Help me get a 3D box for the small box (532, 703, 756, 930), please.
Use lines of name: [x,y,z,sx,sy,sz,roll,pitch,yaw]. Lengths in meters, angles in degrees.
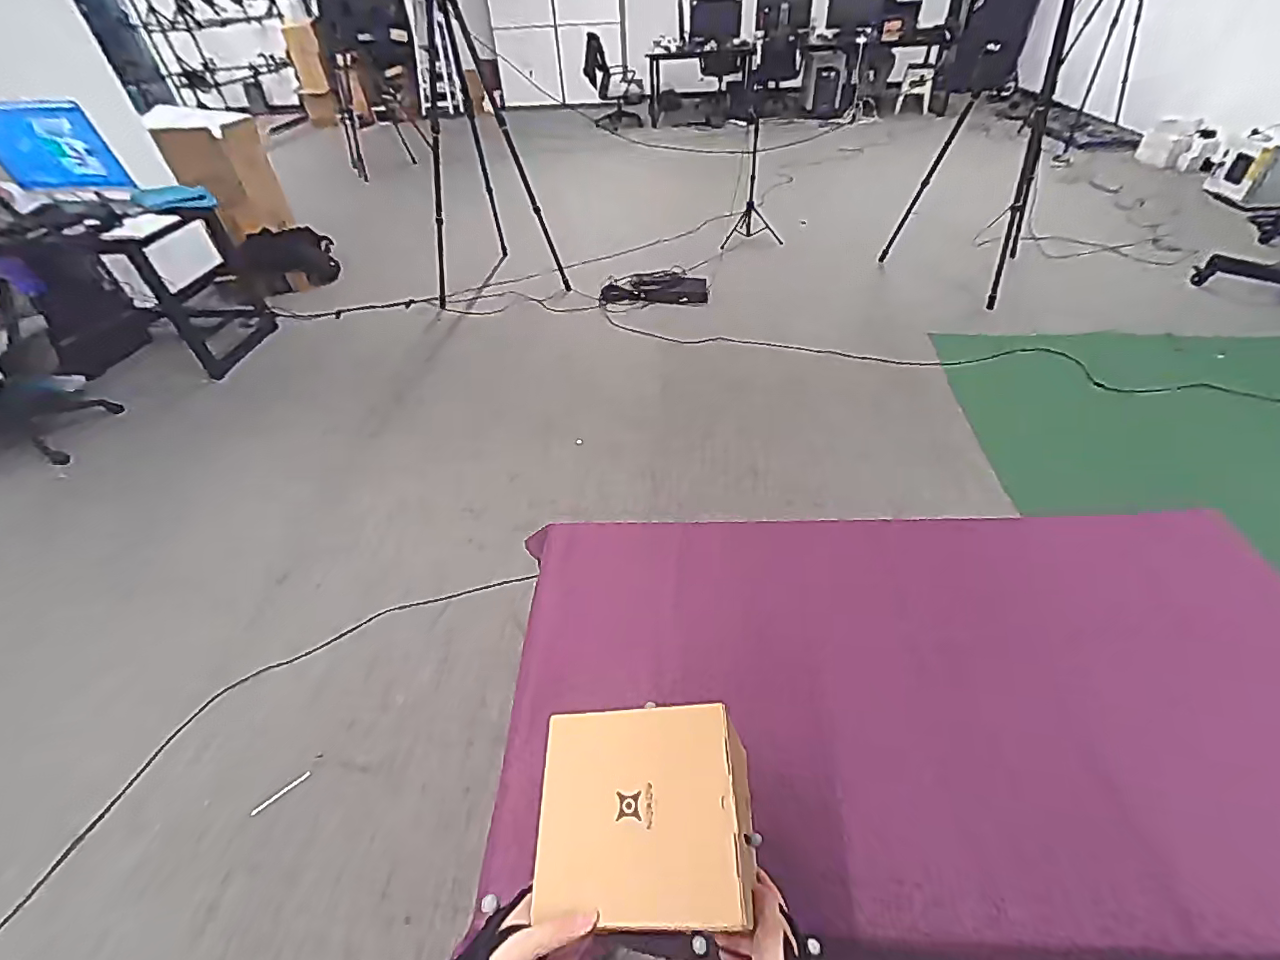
small box: [0.013,0.338,0.537,0.179,0.176,0.168,-8,48,9]
